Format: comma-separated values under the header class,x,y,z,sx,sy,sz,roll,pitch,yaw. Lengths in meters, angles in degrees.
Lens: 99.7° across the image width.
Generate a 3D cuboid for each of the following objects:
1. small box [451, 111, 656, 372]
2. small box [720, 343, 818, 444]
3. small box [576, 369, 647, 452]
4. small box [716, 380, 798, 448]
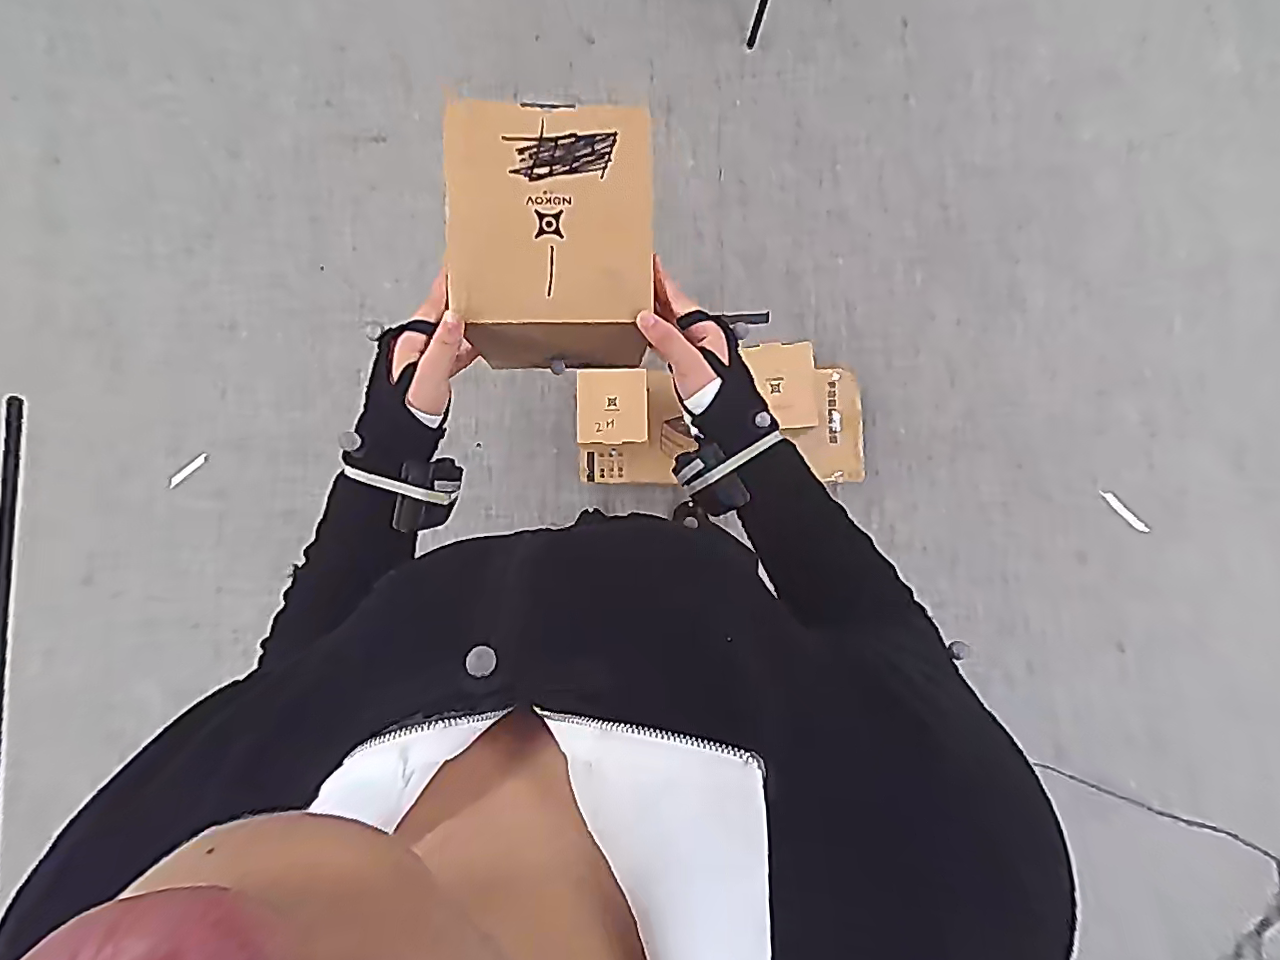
class,x,y,z,sx,sy,sz,roll,pitch,yaw
small box,-0.076,-0.208,0.516,0.168,0.176,0.179,-1,89,-4
small box,0.271,-0.181,1.169,0.168,0.176,0.179,-5,87,1
small box,-0.067,-0.166,1.332,0.168,0.176,0.179,-1,87,0
small box,0.282,-0.171,1.331,0.168,0.176,0.179,-2,87,-1
